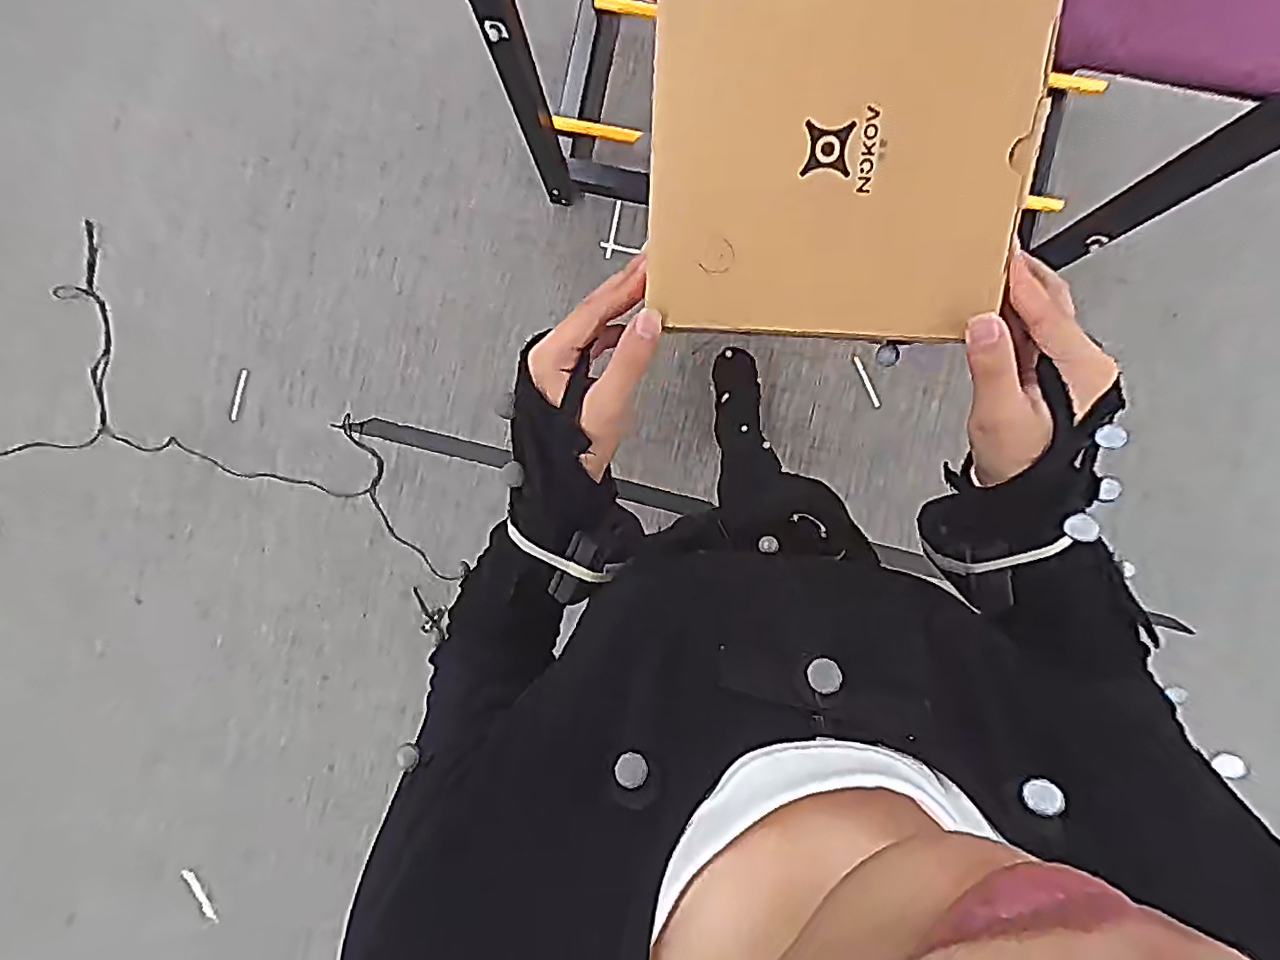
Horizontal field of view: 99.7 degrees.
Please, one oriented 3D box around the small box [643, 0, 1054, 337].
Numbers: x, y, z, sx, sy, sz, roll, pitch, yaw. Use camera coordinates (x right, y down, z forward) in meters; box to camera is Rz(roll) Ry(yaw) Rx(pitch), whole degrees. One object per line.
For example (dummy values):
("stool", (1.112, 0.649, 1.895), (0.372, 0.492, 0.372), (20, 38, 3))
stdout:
("small box", (0.098, -0.177, 0.333), (0.179, 0.176, 0.168), (3, 105, 3))
